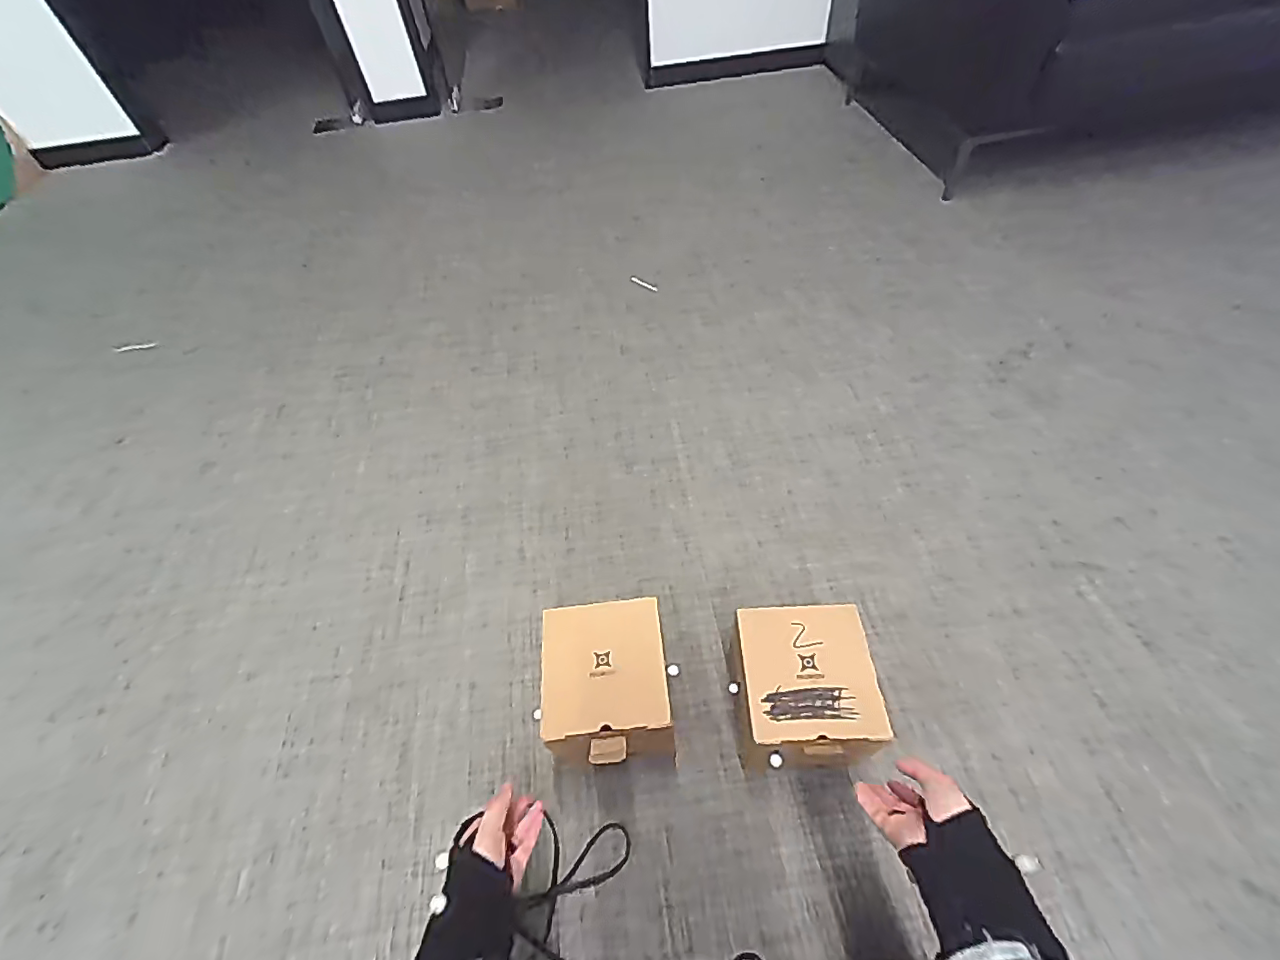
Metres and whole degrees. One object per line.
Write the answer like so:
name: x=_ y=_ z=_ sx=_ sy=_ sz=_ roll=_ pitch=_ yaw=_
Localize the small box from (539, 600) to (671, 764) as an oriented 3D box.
small box: x=-0.047 y=0.295 z=0.785 sx=0.168 sy=0.176 sz=0.179 roll=-7 pitch=54 yaw=0
